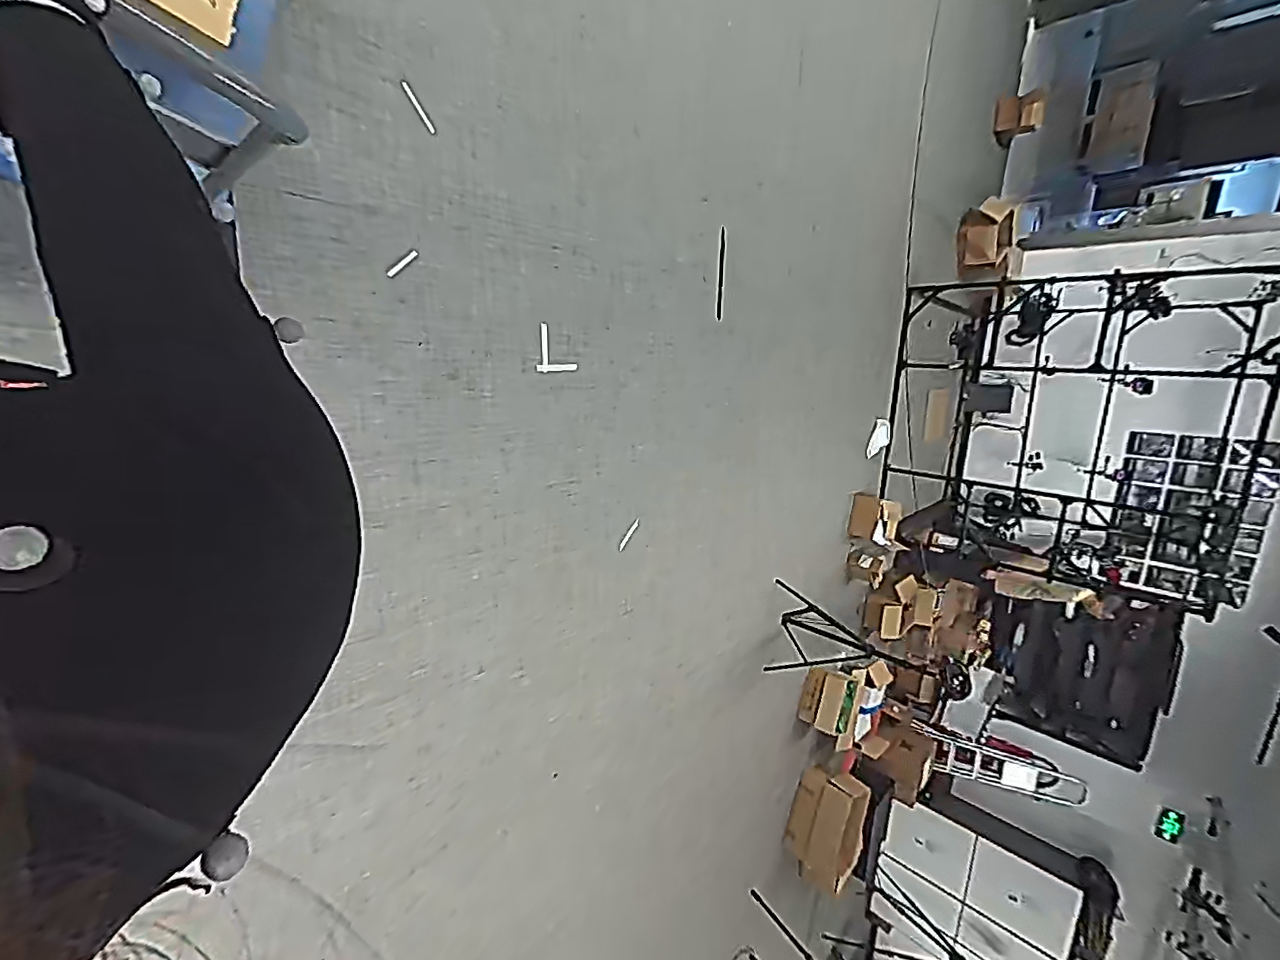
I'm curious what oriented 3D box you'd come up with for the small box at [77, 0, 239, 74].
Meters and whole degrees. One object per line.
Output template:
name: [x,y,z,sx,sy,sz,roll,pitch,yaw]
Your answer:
small box: [-0.755,-0.793,0.853,0.179,0.176,0.168,11,92,-48]
